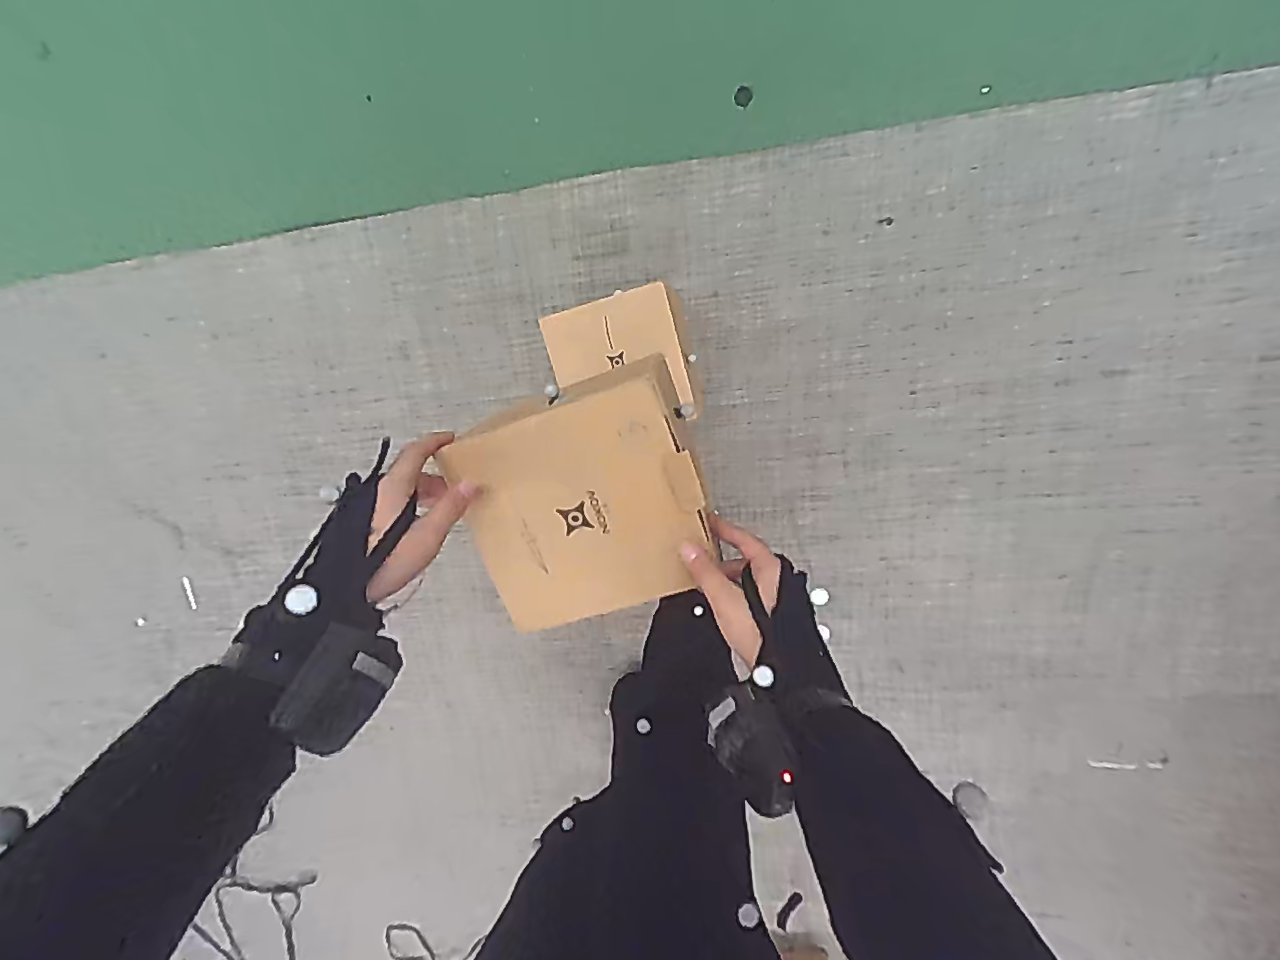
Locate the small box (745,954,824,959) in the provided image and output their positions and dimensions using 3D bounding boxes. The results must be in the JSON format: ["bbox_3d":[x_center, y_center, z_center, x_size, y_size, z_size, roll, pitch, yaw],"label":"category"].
[{"bbox_3d":[0.297,1.067,1.047,0.179,0.176,0.168,-9,104,10],"label":"small box"}]

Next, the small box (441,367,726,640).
[{"bbox_3d":[-0.036,0.008,0.482,0.179,0.176,0.168,-18,105,11],"label":"small box"}]

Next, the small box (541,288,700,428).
[{"bbox_3d":[-0.014,-0.155,0.761,0.168,0.176,0.179,-14,102,12],"label":"small box"}]
